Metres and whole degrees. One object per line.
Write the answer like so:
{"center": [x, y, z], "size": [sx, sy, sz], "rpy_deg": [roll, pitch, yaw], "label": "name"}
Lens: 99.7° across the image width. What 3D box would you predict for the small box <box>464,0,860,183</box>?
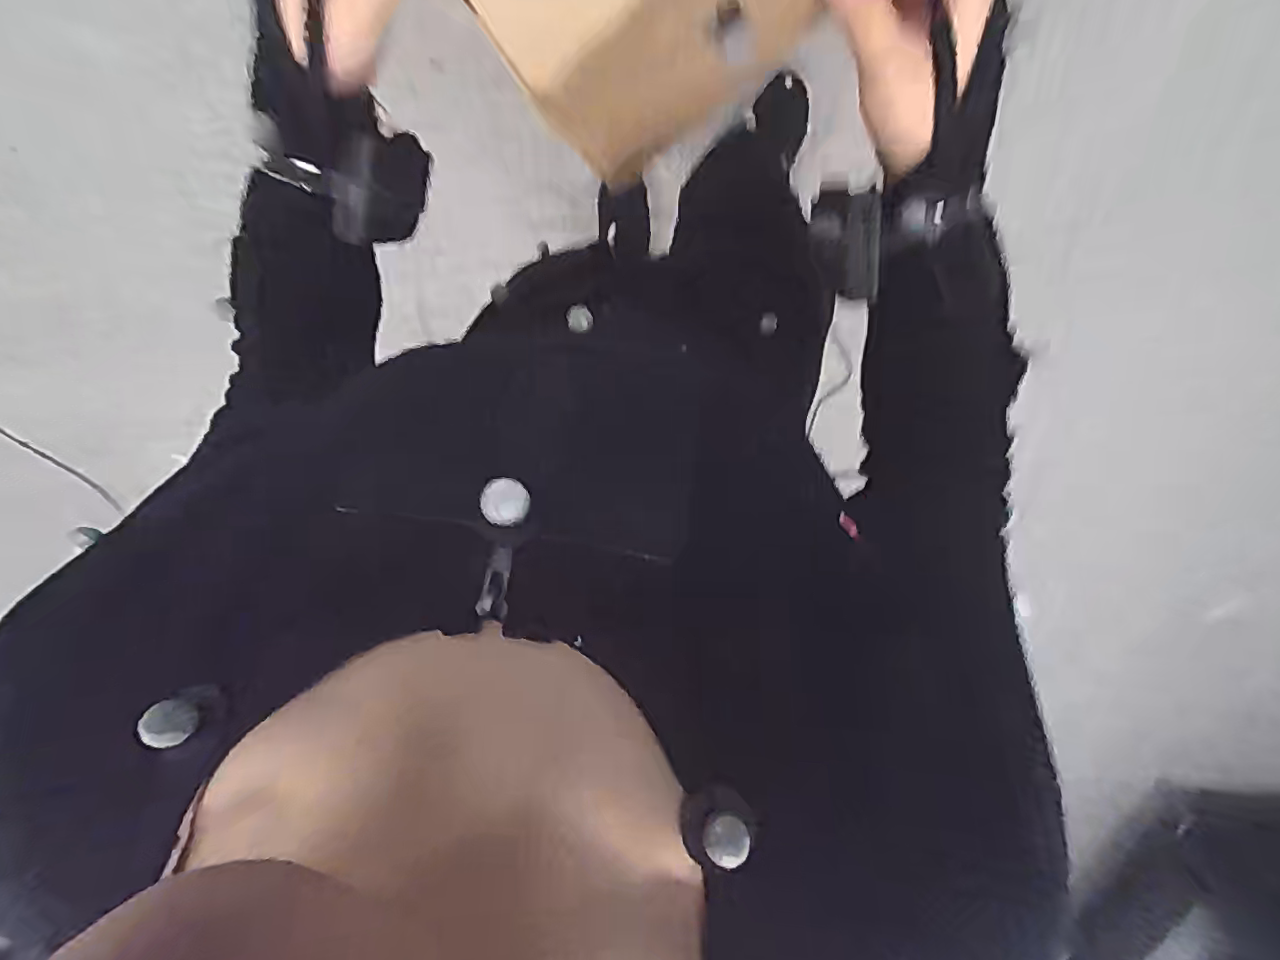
{"center": [0.004, -0.249, 0.207], "size": [0.179, 0.176, 0.168], "rpy_deg": [-33, 103, 17], "label": "small box"}
